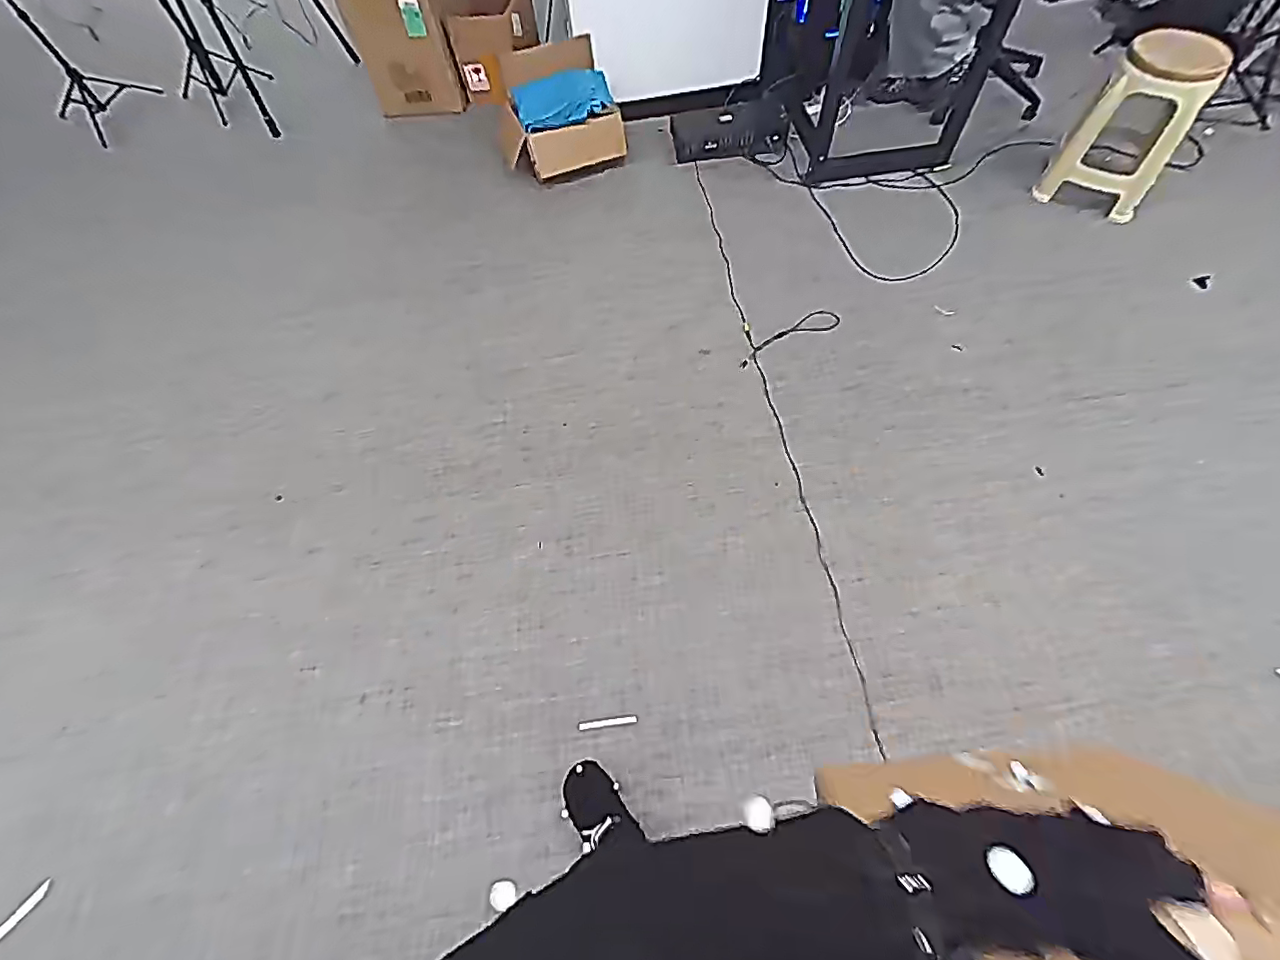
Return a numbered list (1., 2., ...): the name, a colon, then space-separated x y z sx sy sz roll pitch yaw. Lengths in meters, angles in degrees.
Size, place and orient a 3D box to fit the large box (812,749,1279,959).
1. large box: 0.345 0.475 0.418 0.320 0.320 0.408 -6 80 6
